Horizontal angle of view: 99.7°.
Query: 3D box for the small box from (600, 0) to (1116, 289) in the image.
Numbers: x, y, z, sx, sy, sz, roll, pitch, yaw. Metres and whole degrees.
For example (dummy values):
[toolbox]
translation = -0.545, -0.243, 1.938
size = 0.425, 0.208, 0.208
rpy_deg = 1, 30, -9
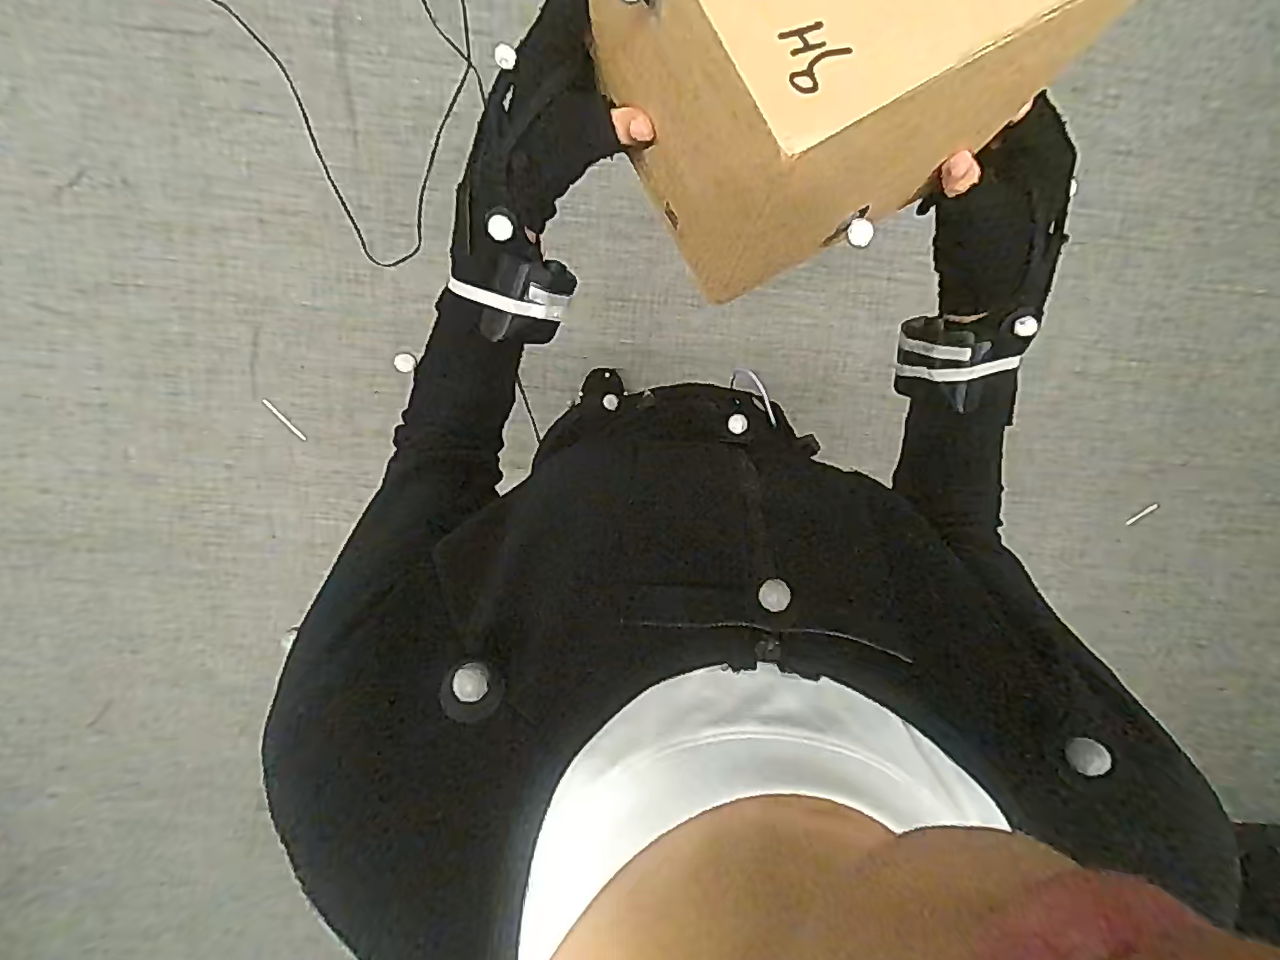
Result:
[small box]
translation = 0.086, -0.234, 0.283
size = 0.179, 0.176, 0.168
rpy_deg = -29, 90, -1
